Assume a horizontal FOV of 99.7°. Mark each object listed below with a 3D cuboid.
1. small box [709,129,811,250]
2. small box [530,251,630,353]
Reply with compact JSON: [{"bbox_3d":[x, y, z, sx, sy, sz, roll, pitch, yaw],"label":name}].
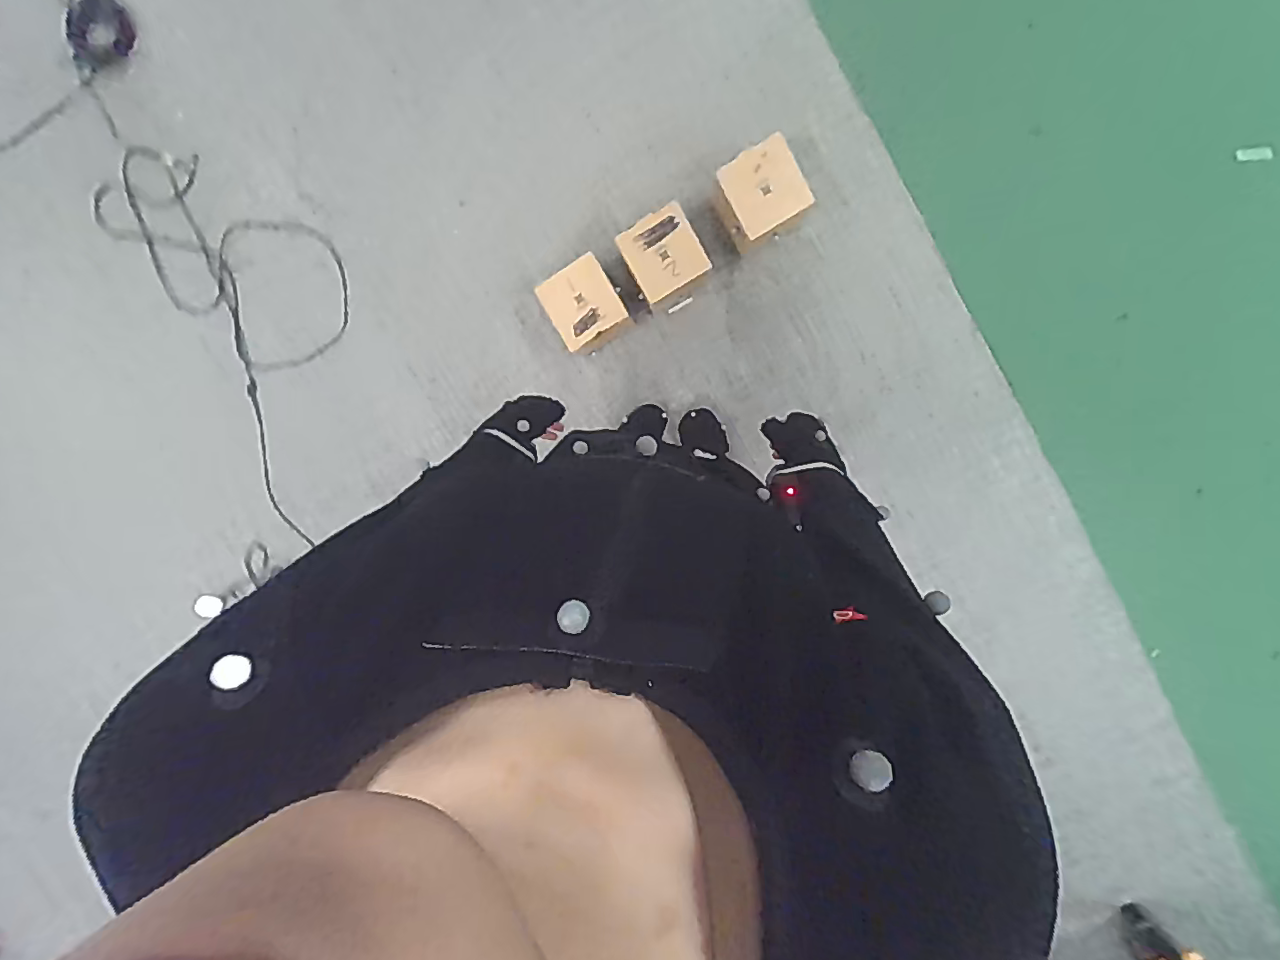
[{"bbox_3d":[0.275,-0.666,1.274,0.168,0.176,0.179,-30,95,8],"label":"small box"},{"bbox_3d":[-0.139,-0.430,1.341,0.168,0.176,0.179,-30,94,9],"label":"small box"}]
